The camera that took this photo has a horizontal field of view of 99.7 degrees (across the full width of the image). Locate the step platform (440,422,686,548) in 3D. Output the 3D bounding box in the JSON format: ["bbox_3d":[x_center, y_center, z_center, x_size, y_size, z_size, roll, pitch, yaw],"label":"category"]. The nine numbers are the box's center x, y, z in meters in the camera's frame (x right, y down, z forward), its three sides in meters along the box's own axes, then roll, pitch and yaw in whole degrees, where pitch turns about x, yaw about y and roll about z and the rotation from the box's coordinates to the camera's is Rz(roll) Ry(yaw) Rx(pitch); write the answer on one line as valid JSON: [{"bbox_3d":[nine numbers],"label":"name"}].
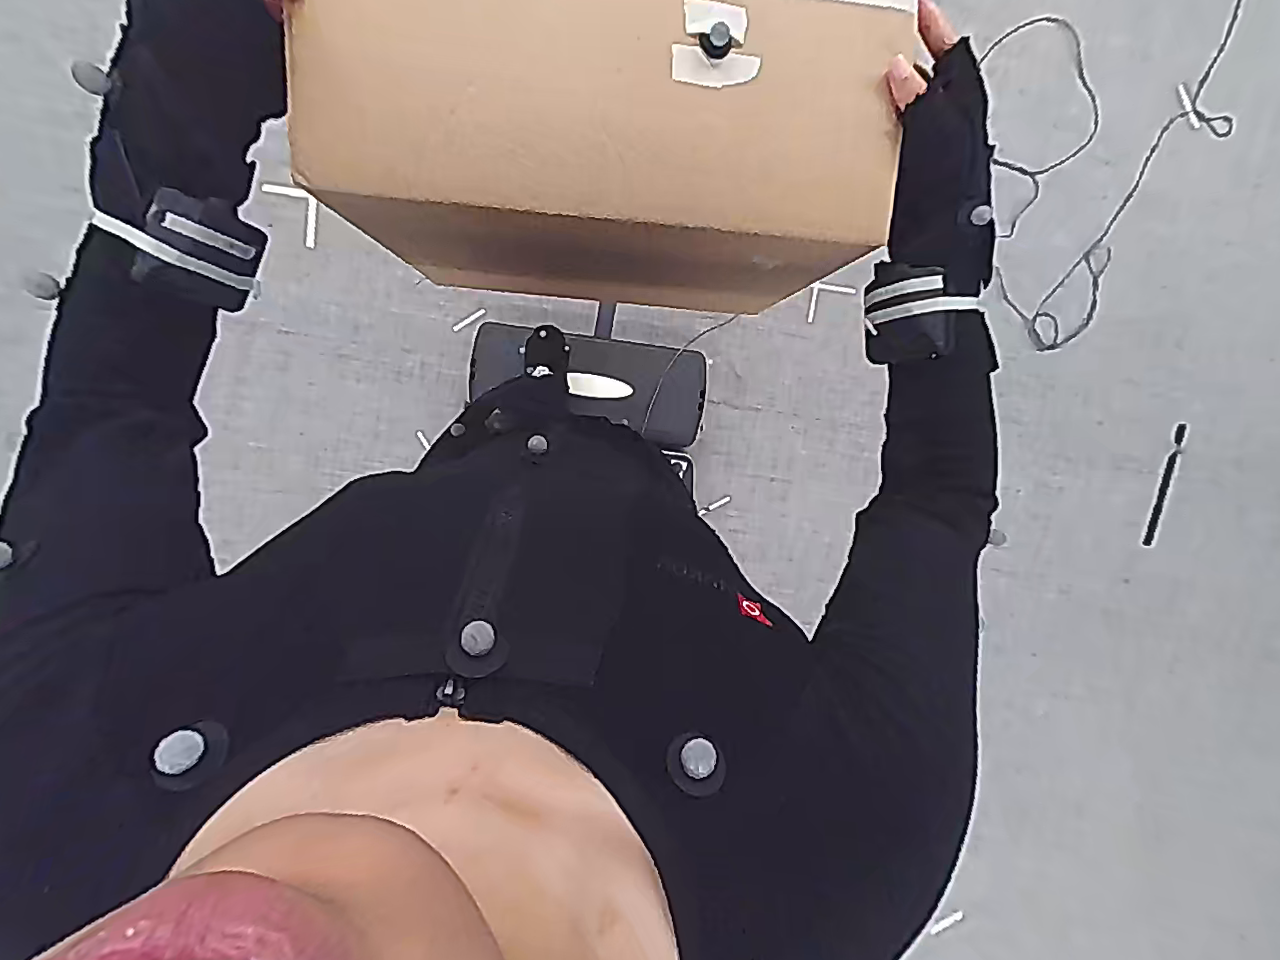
[{"bbox_3d":[-0.210,0.013,1.547,0.684,0.204,0.286,7,96,-2],"label":"step platform"}]

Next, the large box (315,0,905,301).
[{"bbox_3d":[-0.025,-0.364,0.508,0.408,0.320,0.320,3,99,-6],"label":"large box"}]
